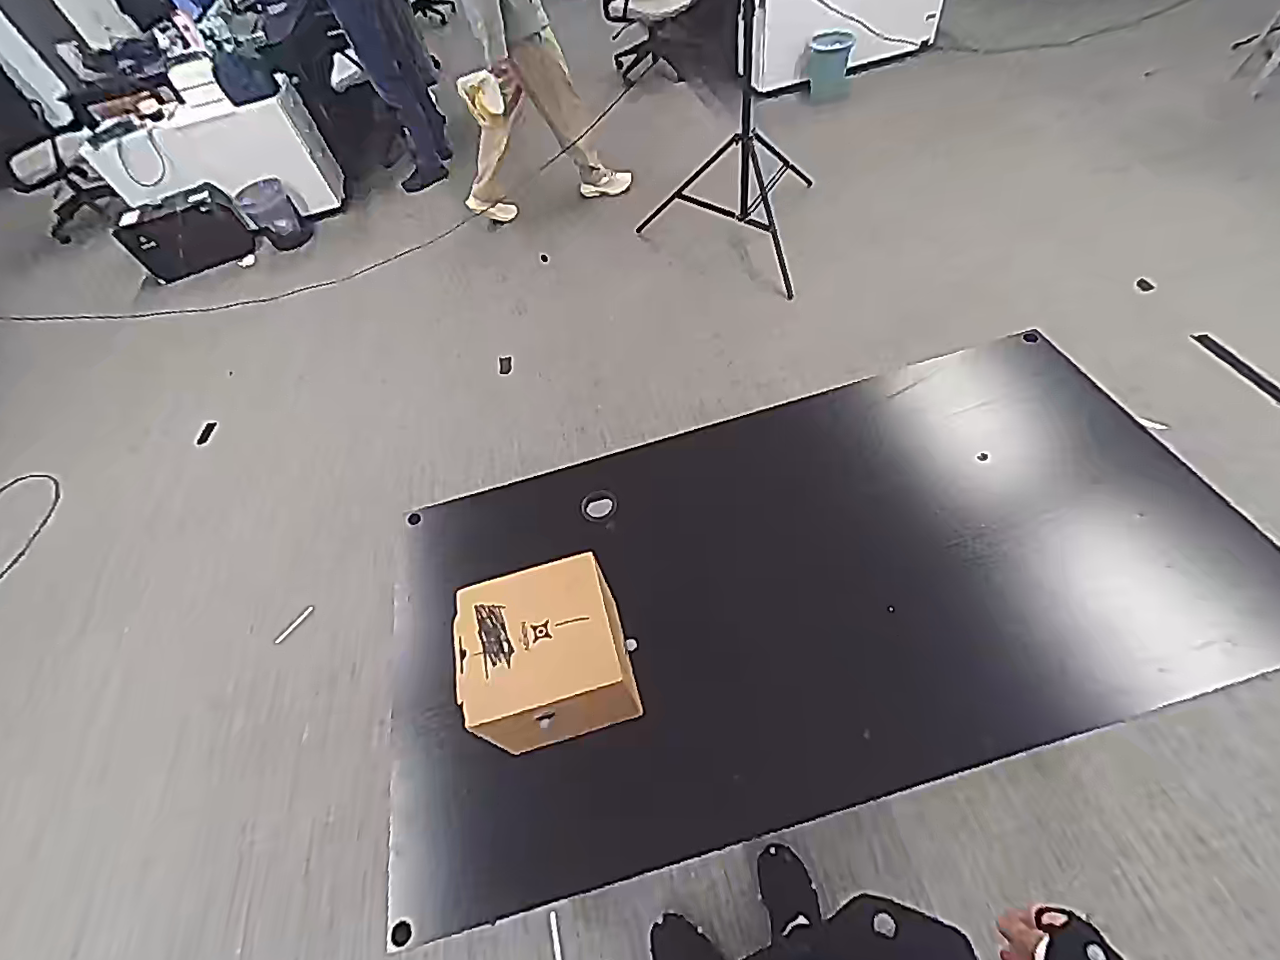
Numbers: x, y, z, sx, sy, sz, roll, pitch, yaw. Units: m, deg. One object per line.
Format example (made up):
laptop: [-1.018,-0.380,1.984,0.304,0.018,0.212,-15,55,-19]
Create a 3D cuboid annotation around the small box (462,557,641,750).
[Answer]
small box: [-0.109,0.228,0.695,0.179,0.176,0.168,-16,54,-3]
